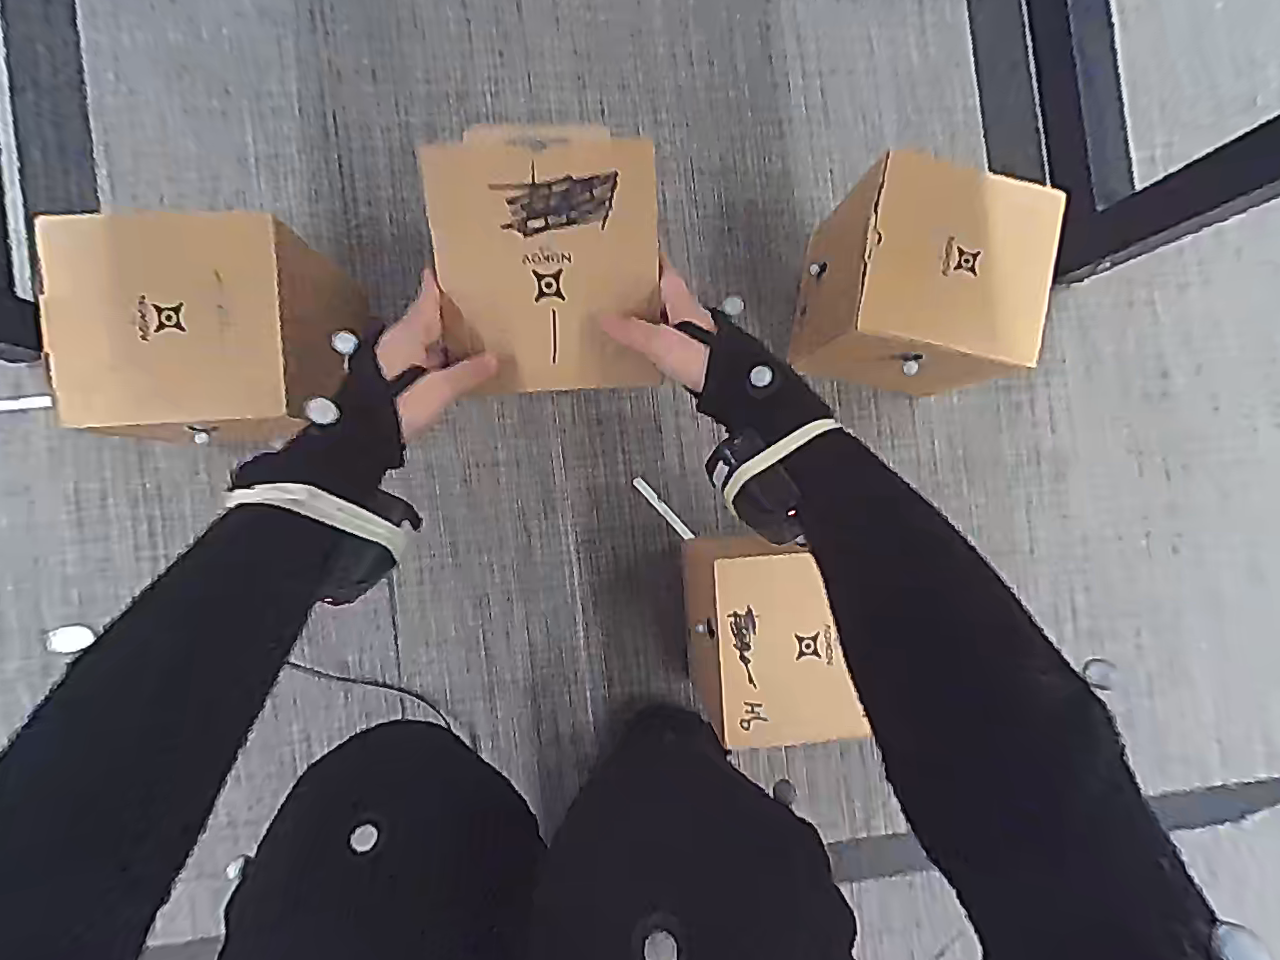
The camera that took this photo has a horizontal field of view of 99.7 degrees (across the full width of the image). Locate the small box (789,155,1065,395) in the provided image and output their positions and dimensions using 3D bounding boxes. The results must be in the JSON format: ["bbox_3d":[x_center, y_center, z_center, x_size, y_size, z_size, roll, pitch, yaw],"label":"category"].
[{"bbox_3d":[0.279,-0.191,0.560,0.179,0.176,0.168,11,89,-4],"label":"small box"}]

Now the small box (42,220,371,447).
[{"bbox_3d":[-0.376,-0.120,0.502,0.179,0.176,0.168,-4,90,-6],"label":"small box"}]

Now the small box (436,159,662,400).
[{"bbox_3d":[-0.072,-0.165,0.495,0.168,0.176,0.179,-4,100,-3],"label":"small box"}]
